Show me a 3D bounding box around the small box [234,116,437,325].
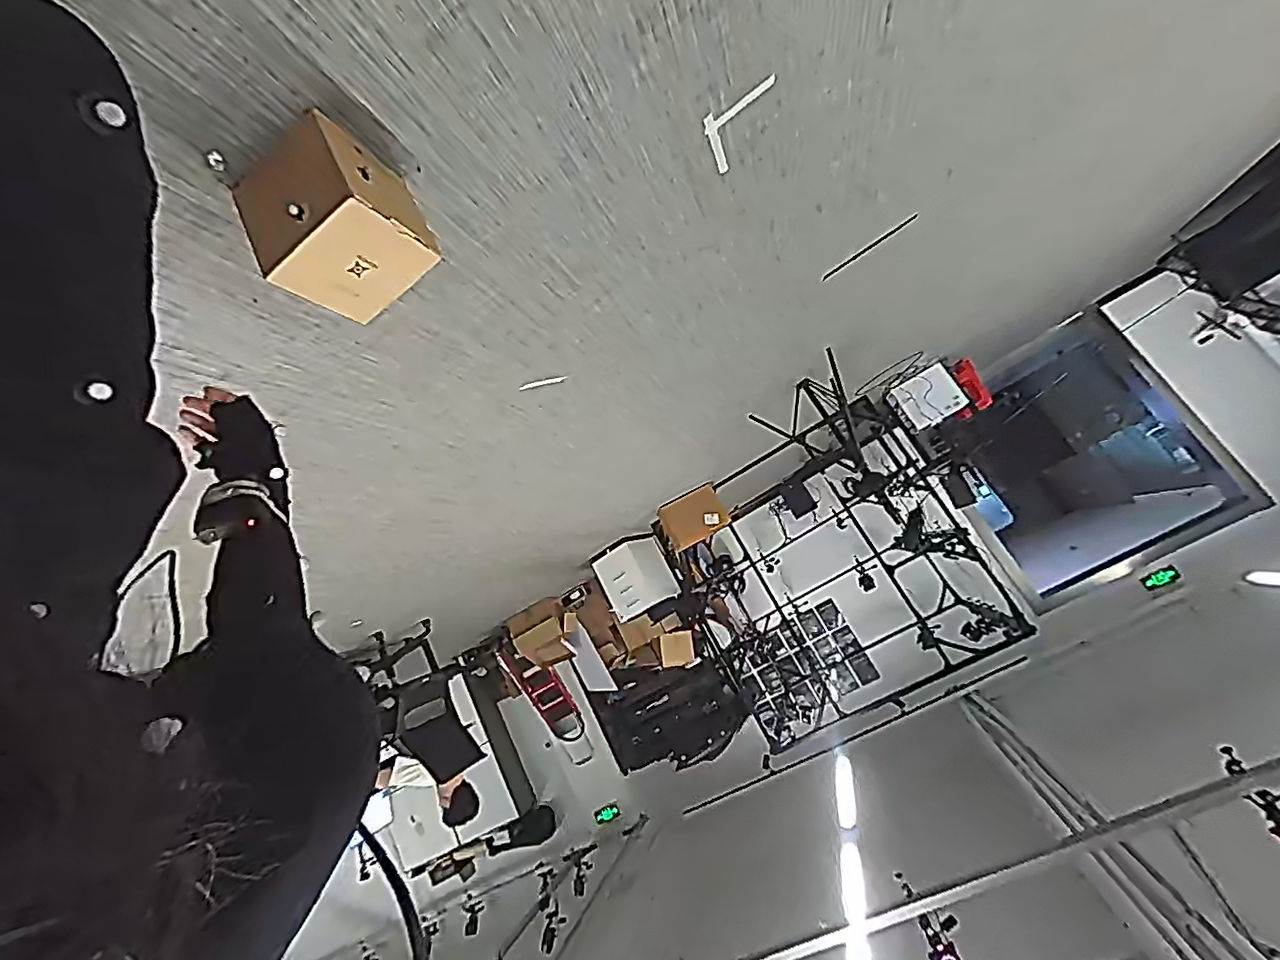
[{"bbox_3d":[-0.436,-0.364,0.776,0.179,0.176,0.168,-32,164,14],"label":"small box"}]
